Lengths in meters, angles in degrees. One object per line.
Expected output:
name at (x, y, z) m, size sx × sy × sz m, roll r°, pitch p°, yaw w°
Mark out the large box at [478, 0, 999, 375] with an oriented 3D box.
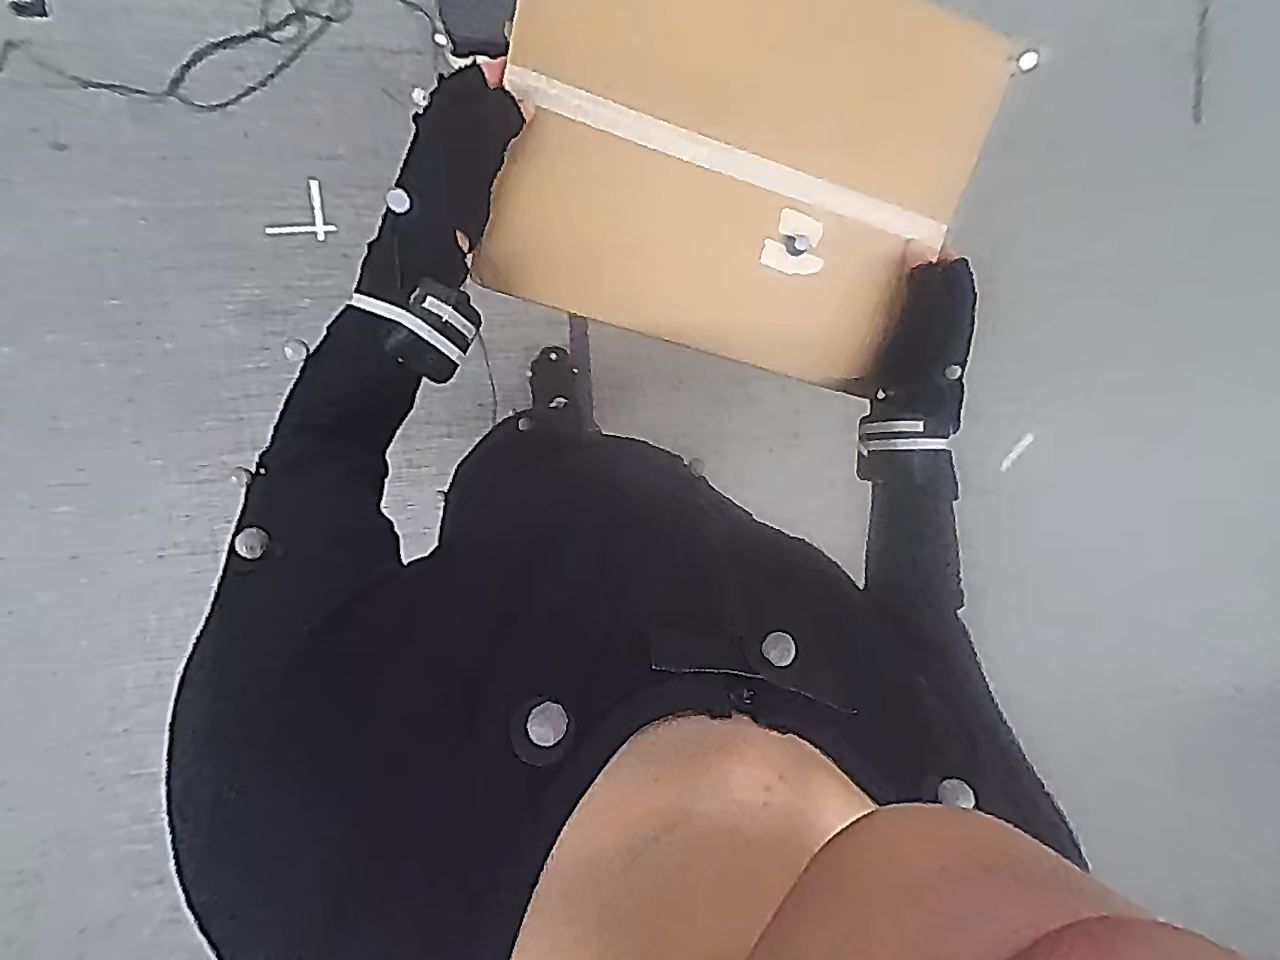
large box at (0.062, -0.330, 0.604) m, size 0.408 × 0.320 × 0.320 m, roll 11°, pitch 108°, yaw -12°
